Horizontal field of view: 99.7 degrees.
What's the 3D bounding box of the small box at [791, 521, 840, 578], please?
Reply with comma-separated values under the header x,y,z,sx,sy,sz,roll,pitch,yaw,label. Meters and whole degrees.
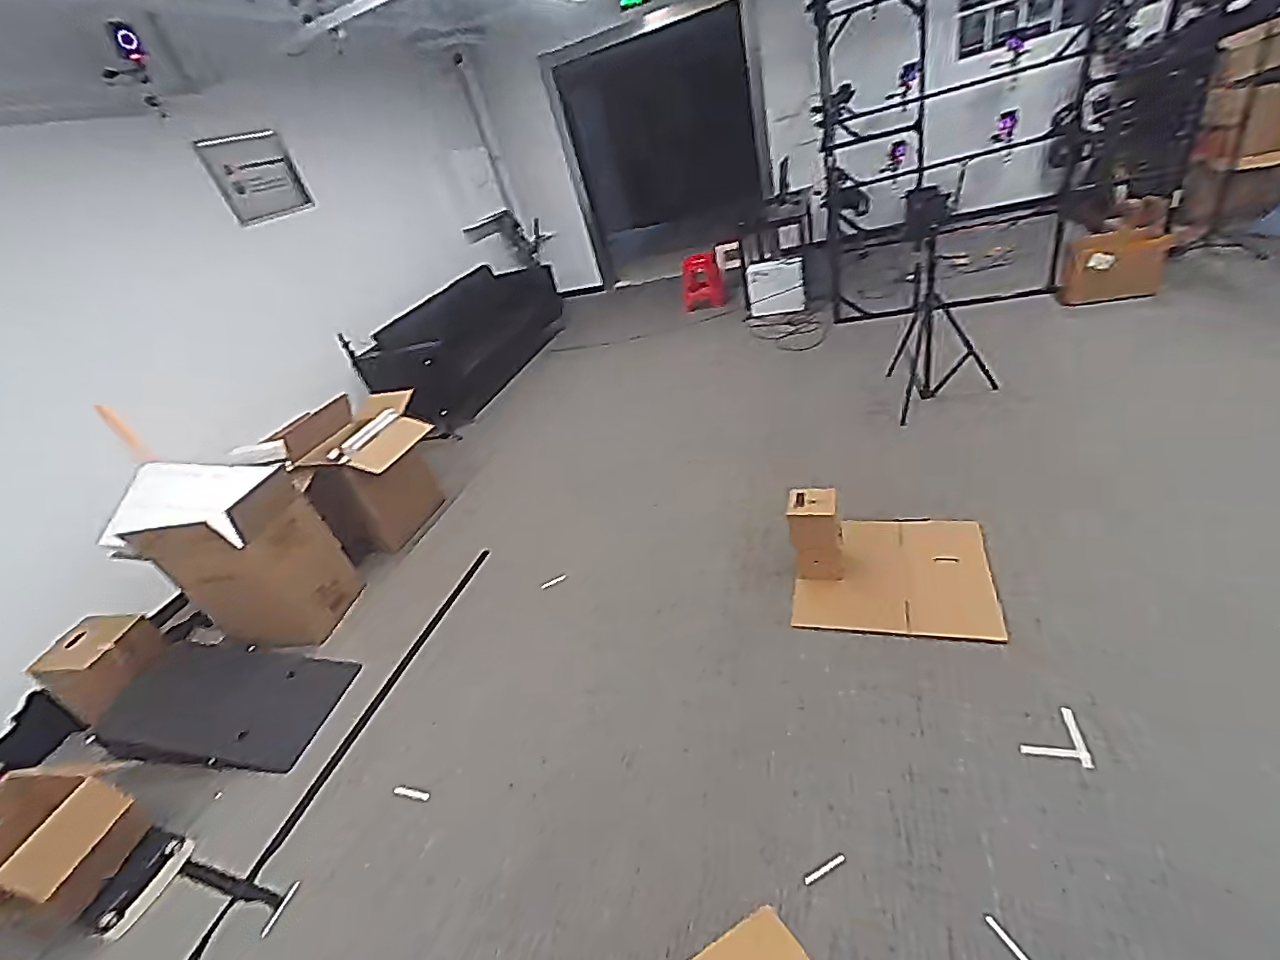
x,y,z,sx,sy,sz,roll,pitch,yaw,label
0.720,0.284,2.202,0.179,0.176,0.168,-3,35,23,small box
